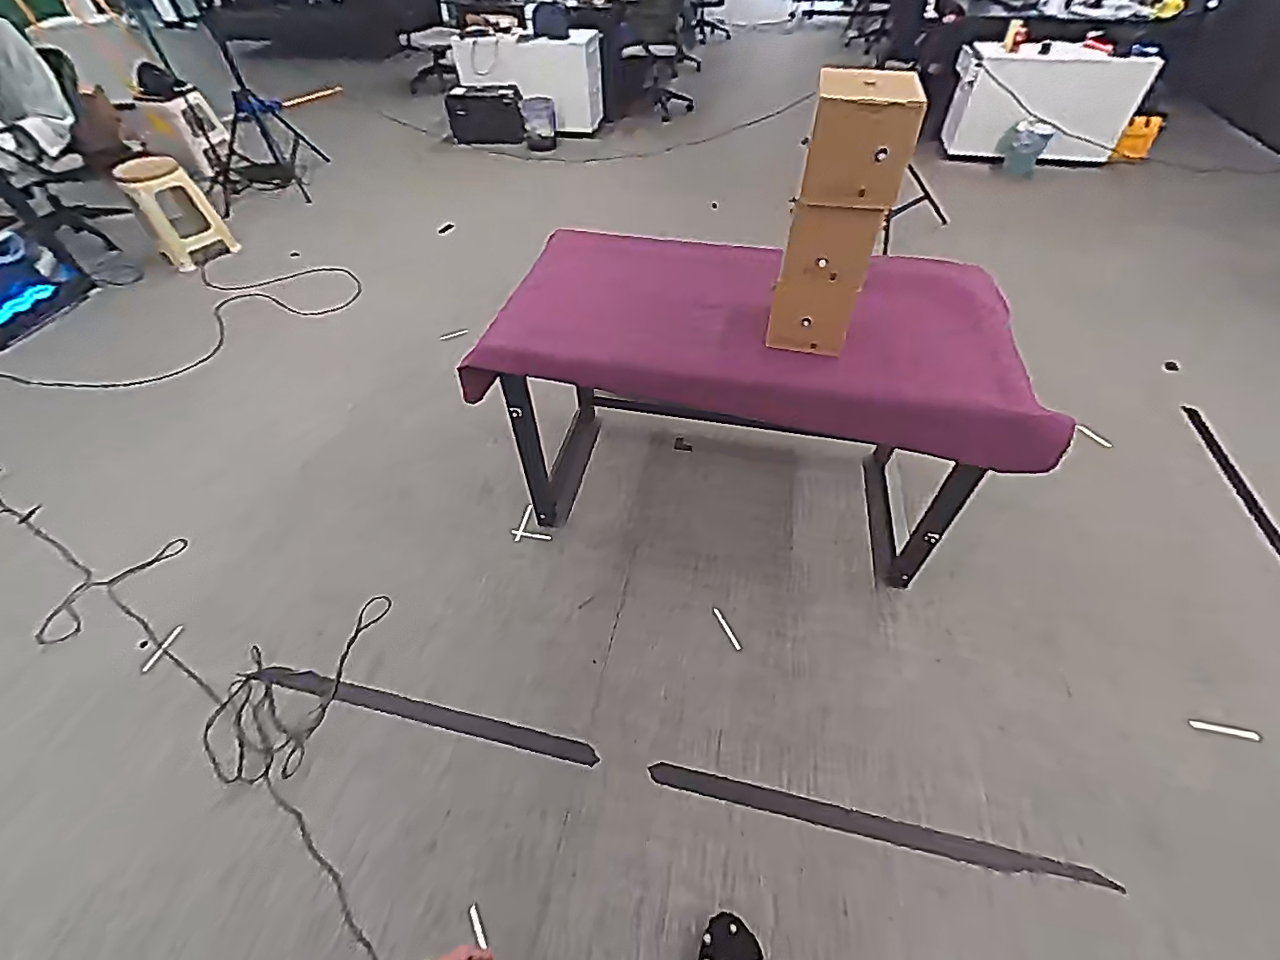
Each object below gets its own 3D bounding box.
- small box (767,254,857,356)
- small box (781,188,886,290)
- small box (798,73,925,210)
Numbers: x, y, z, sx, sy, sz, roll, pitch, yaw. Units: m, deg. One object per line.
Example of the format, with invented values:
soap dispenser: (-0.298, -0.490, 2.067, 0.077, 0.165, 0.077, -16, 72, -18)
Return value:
small box: (0.389, -0.404, 1.226, 0.168, 0.176, 0.179, 11, 50, 10)
small box: (0.390, -0.514, 1.104, 0.168, 0.176, 0.179, 11, 51, 11)
small box: (0.385, -0.603, 0.967, 0.168, 0.176, 0.179, 9, 49, 8)
